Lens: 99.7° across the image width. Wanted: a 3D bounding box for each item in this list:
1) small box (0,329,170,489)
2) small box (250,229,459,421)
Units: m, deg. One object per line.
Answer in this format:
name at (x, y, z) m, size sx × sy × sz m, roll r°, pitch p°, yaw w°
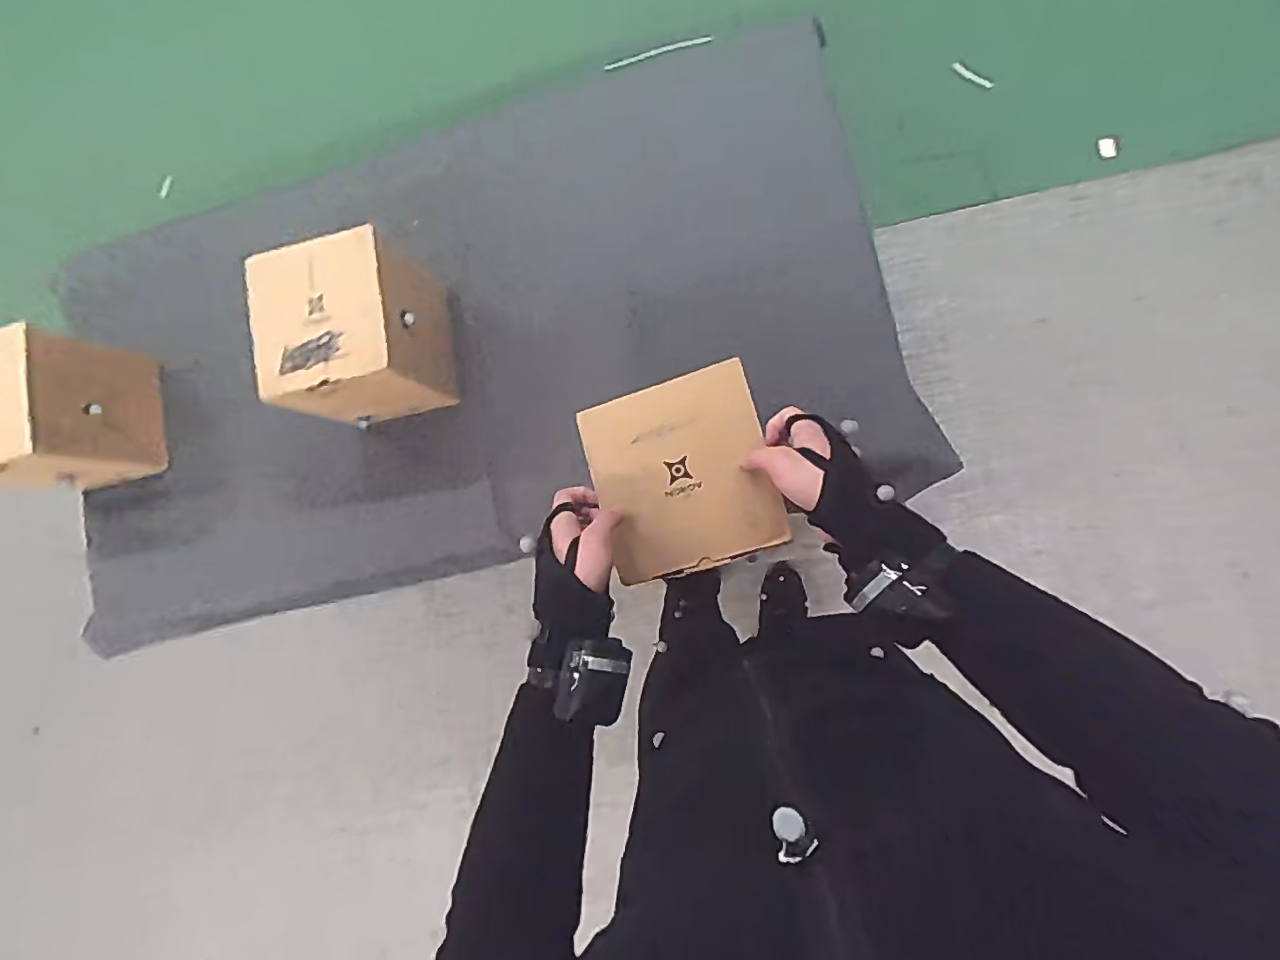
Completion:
small box at (-0.811, -0.085, 0.757) m, size 0.168 × 0.176 × 0.179 m, roll -12°, pitch 85°, yaw 6°
small box at (-0.351, -0.180, 0.691) m, size 0.168 × 0.176 × 0.179 m, roll -11°, pitch 83°, yaw 8°
